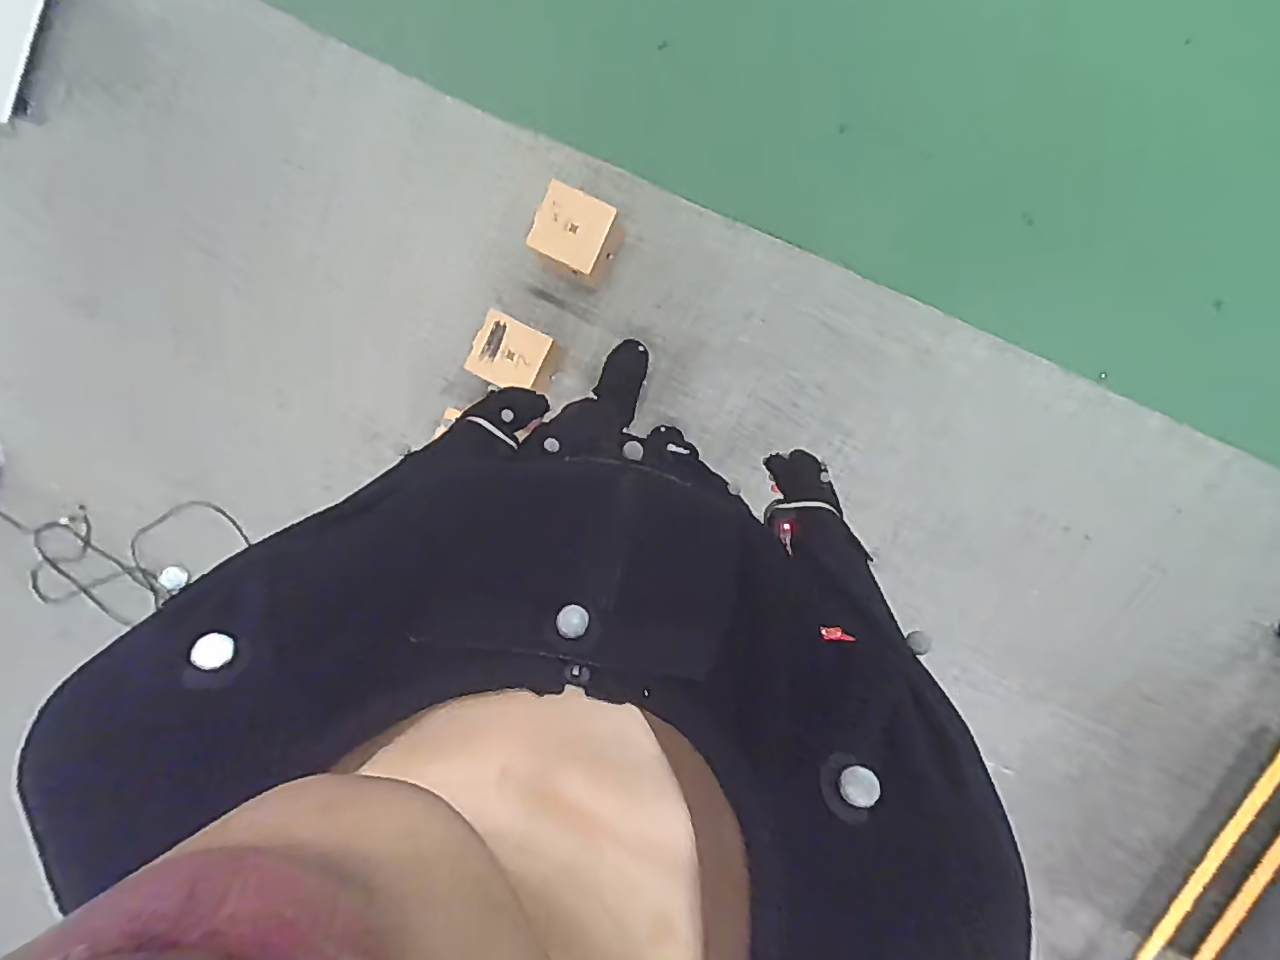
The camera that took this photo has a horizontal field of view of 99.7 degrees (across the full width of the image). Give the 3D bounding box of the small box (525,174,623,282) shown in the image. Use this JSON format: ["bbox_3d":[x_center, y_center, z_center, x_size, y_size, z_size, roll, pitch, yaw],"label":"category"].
[{"bbox_3d":[-0.154,-0.611,1.339,0.179,0.176,0.168,26,98,2],"label":"small box"}]

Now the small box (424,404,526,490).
[{"bbox_3d":[-0.424,-0.093,1.421,0.179,0.176,0.168,26,98,2],"label":"small box"}]
